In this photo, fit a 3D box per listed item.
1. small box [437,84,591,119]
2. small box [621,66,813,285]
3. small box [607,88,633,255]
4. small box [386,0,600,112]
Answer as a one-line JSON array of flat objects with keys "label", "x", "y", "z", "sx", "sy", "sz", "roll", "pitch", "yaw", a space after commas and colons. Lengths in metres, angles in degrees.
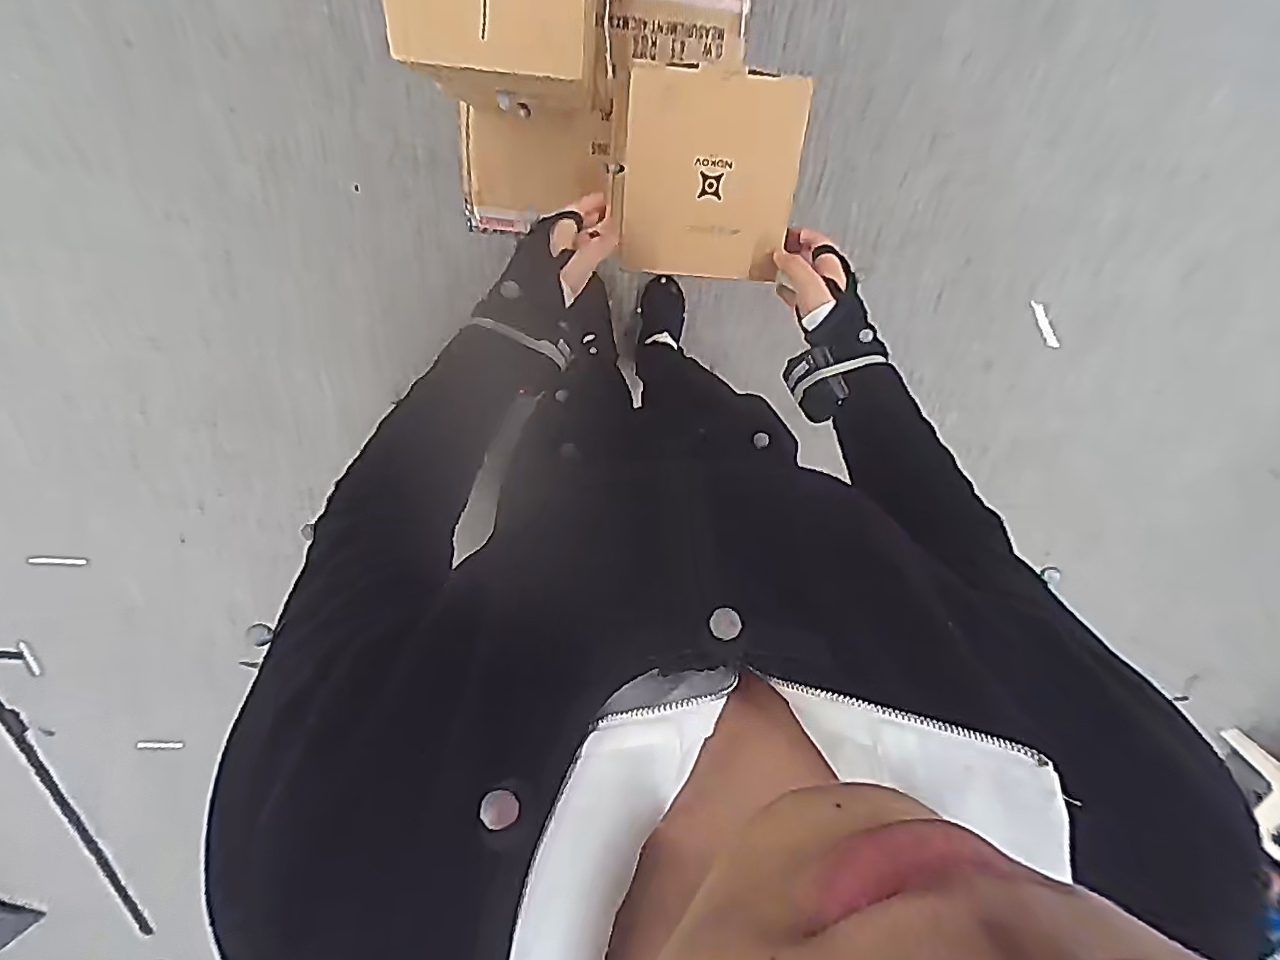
[{"label": "small box", "x": -0.144, "y": -0.542, "z": 0.637, "sx": 0.168, "sy": 0.176, "sz": 0.179, "roll": 1, "pitch": 119, "yaw": -2}, {"label": "small box", "x": 0.065, "y": -0.319, "z": 0.585, "sx": 0.168, "sy": 0.176, "sz": 0.179, "roll": 1, "pitch": 120, "yaw": -3}, {"label": "small box", "x": 0.042, "y": -0.401, "z": 0.725, "sx": 0.168, "sy": 0.176, "sz": 0.179, "roll": 2, "pitch": 118, "yaw": -6}, {"label": "small box", "x": -0.124, "y": -0.459, "z": 0.496, "sx": 0.168, "sy": 0.176, "sz": 0.179, "roll": 4, "pitch": 119, "yaw": -3}]
